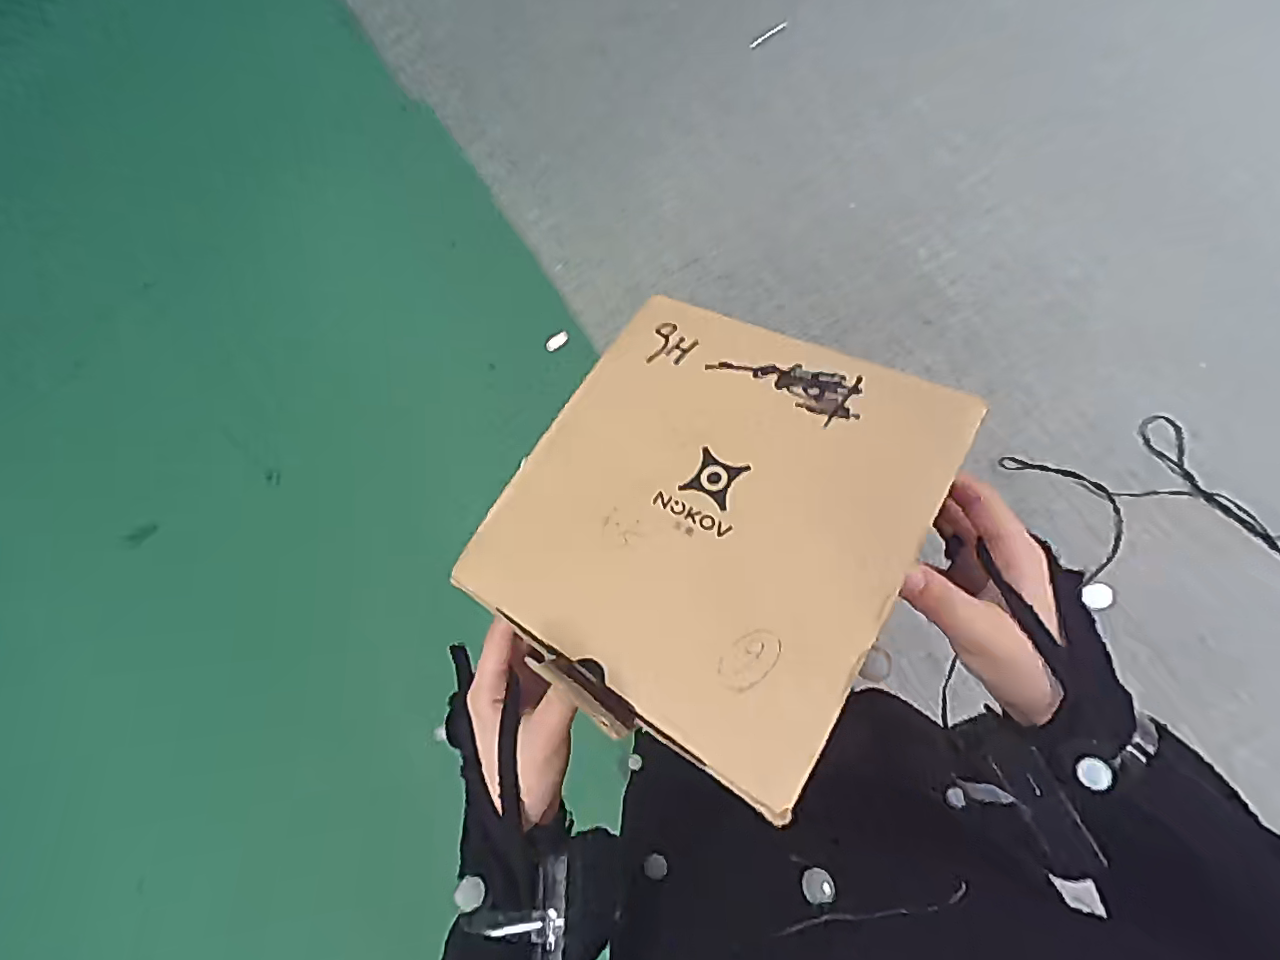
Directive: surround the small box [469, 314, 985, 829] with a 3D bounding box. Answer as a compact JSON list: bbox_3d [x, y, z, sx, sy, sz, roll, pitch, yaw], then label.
[{"bbox_3d":[0.051,0.048,0.303,0.168,0.176,0.179,28,76,25],"label":"small box"}]
